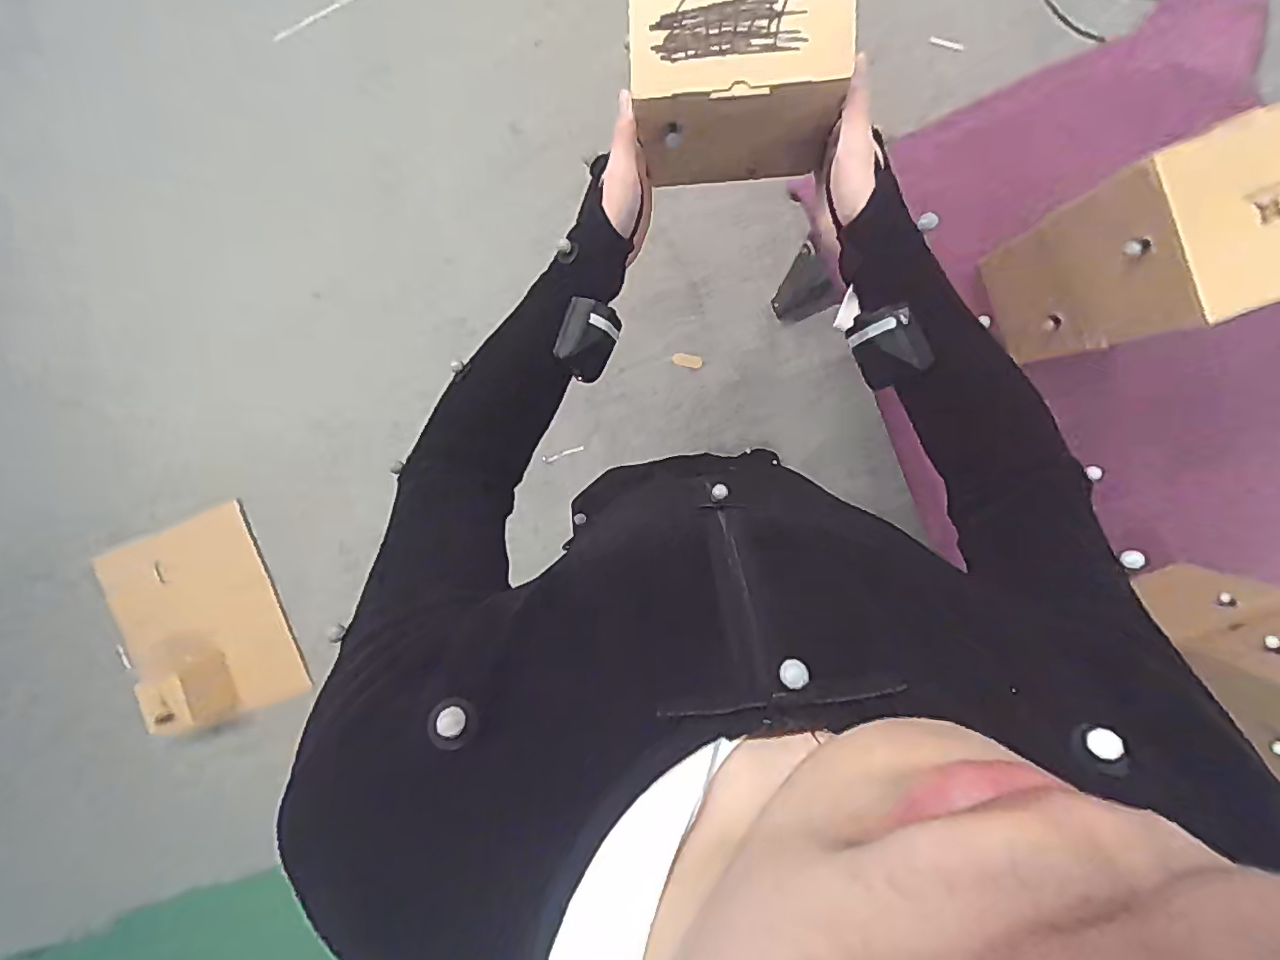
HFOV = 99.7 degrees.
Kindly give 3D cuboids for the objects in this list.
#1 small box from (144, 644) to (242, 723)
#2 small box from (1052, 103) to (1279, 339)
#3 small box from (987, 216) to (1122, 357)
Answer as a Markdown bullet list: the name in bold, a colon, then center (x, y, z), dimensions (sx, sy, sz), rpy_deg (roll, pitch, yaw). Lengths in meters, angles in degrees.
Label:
- **small box**: center (-1.475, 0.670, 1.795), dimensions (0.168, 0.176, 0.179), rpy_deg (-15, 92, 7)
- **small box**: center (0.606, -0.267, 0.590), dimensions (0.168, 0.176, 0.179), rpy_deg (-20, 92, 9)
- **small box**: center (0.627, -0.281, 0.750), dimensions (0.168, 0.176, 0.179), rpy_deg (-20, 92, 7)
